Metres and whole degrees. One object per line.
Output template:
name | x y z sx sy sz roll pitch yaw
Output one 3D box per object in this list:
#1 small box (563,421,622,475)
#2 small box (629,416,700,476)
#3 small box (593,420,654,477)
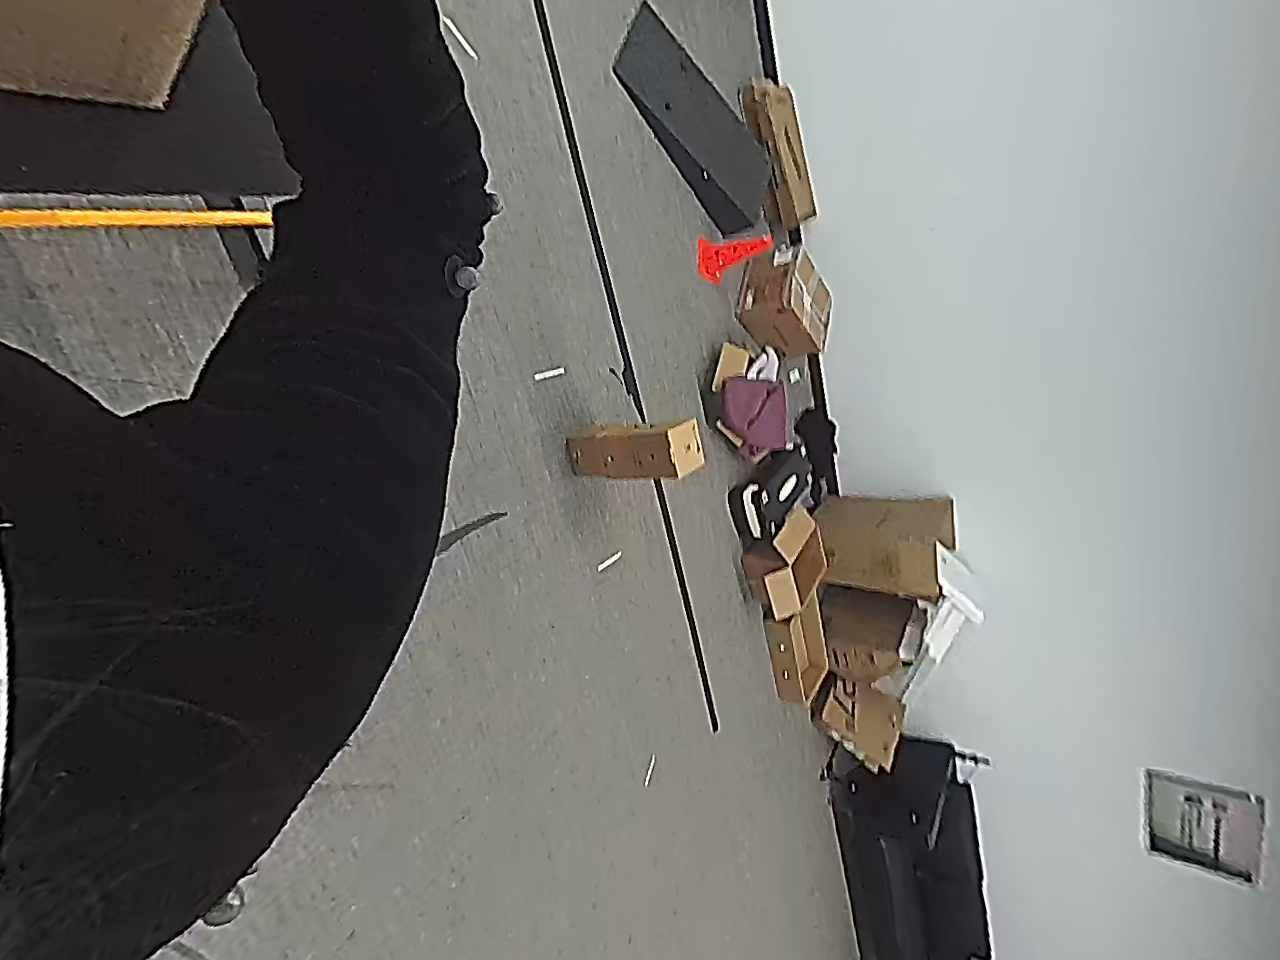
small box | -0.168 -0.125 2.089 0.179 0.176 0.168 -30 112 -45
small box | 0.080 -0.116 1.873 0.179 0.176 0.168 -29 111 -46
small box | -0.044 -0.115 1.979 0.179 0.176 0.168 -30 111 -46
